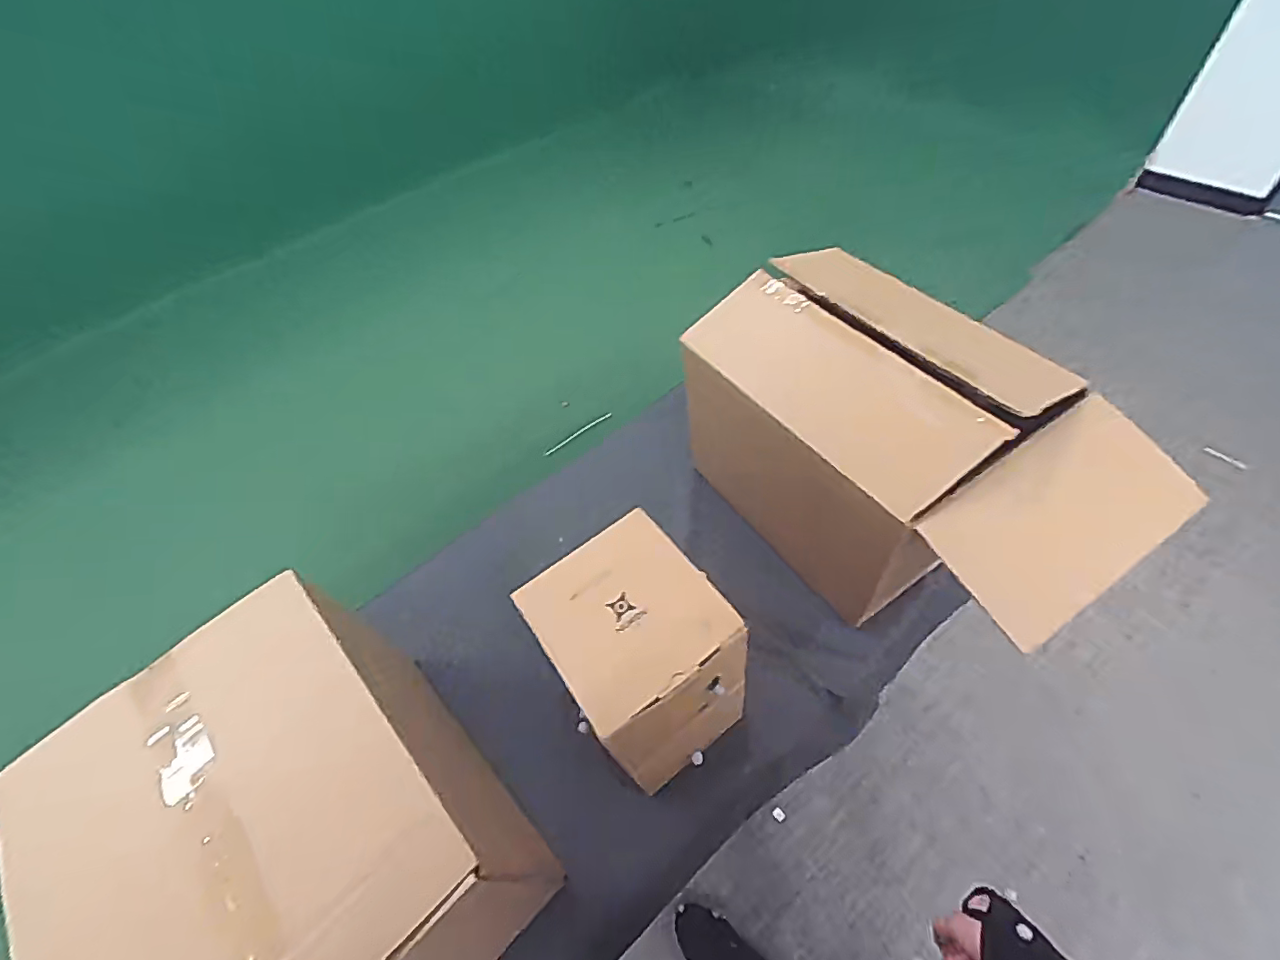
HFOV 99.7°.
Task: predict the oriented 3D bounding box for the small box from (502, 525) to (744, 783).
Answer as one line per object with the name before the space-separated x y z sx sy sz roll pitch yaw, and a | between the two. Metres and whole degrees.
small box | -0.010 0.187 0.563 0.168 0.176 0.179 -34 56 -16
